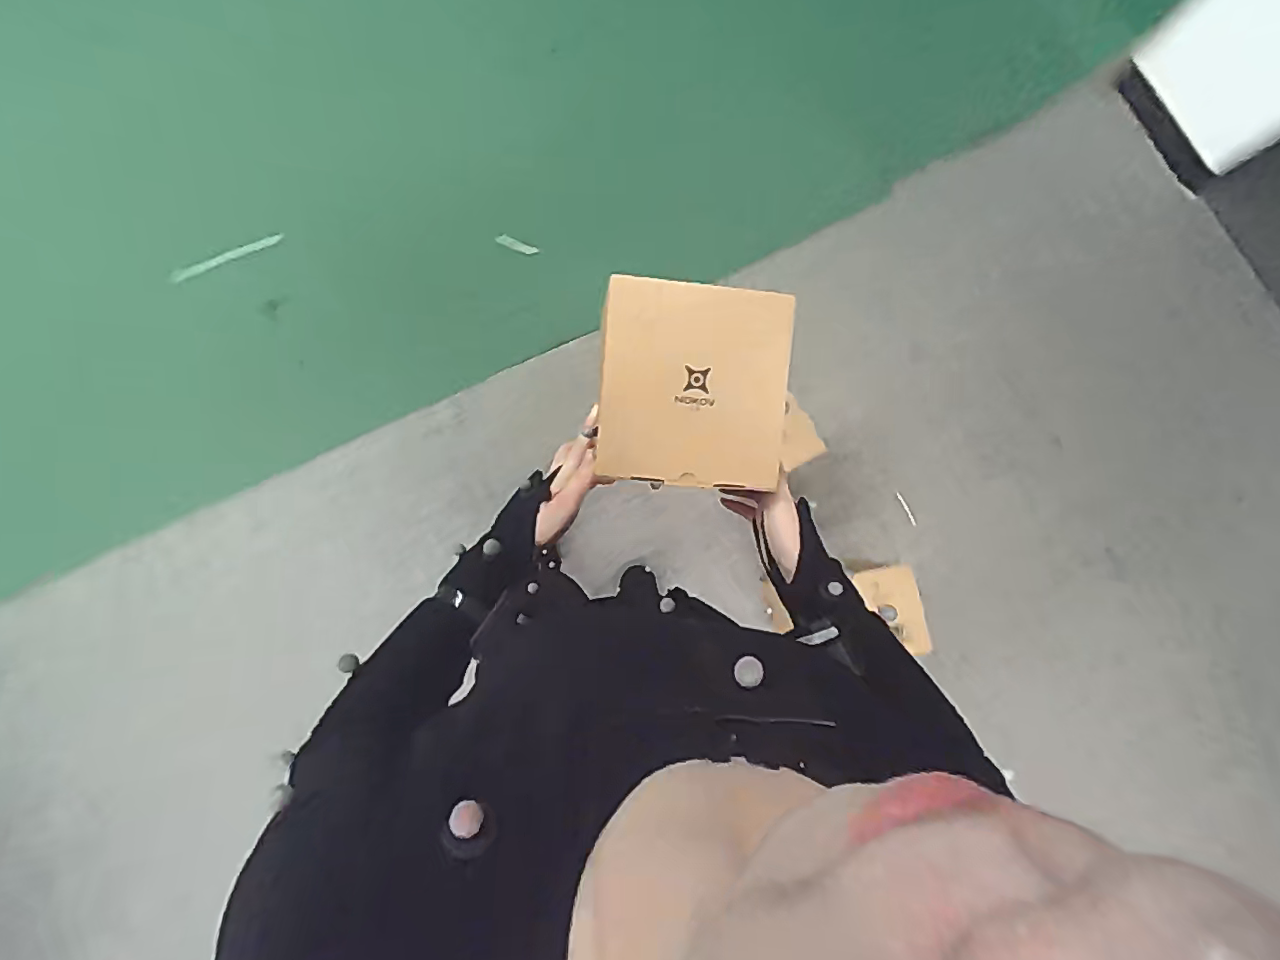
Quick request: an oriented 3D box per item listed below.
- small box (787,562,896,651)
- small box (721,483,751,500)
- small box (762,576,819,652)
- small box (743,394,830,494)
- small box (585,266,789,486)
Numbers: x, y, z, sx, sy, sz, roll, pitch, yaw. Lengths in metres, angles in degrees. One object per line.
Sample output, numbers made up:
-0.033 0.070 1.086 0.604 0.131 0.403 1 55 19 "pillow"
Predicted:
0.462 0.294 1.278 0.179 0.176 0.168 -12 83 -5 "small box"
0.303 -0.061 1.482 0.179 0.176 0.168 -30 84 -8 "small box"
0.448 0.339 1.435 0.179 0.176 0.168 -16 83 -6 "small box"
0.322 -0.081 1.323 0.179 0.176 0.168 -30 84 -7 "small box"
0.033 -0.091 0.538 0.168 0.176 0.179 3 94 -7 "small box"
